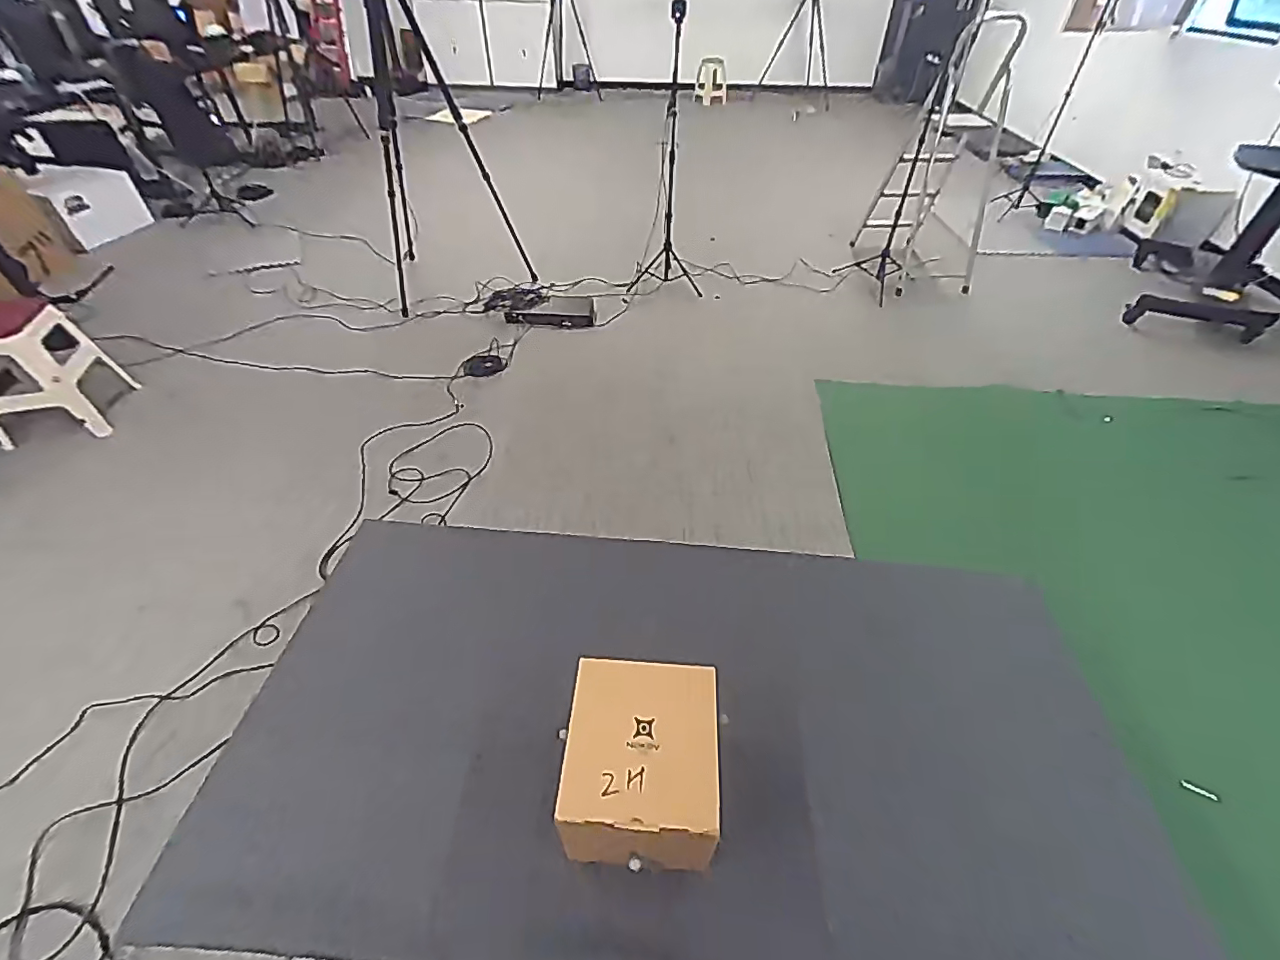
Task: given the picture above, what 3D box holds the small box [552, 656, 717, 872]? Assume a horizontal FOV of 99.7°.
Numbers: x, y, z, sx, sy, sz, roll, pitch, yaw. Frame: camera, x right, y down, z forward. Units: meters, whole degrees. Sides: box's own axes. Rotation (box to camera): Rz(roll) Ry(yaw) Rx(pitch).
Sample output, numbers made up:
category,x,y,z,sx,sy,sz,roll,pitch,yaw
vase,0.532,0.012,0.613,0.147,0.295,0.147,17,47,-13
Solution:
category,x,y,z,sx,sy,sz,roll,pitch,yaw
small box,-0.001,0.335,0.641,0.168,0.176,0.179,3,44,3
